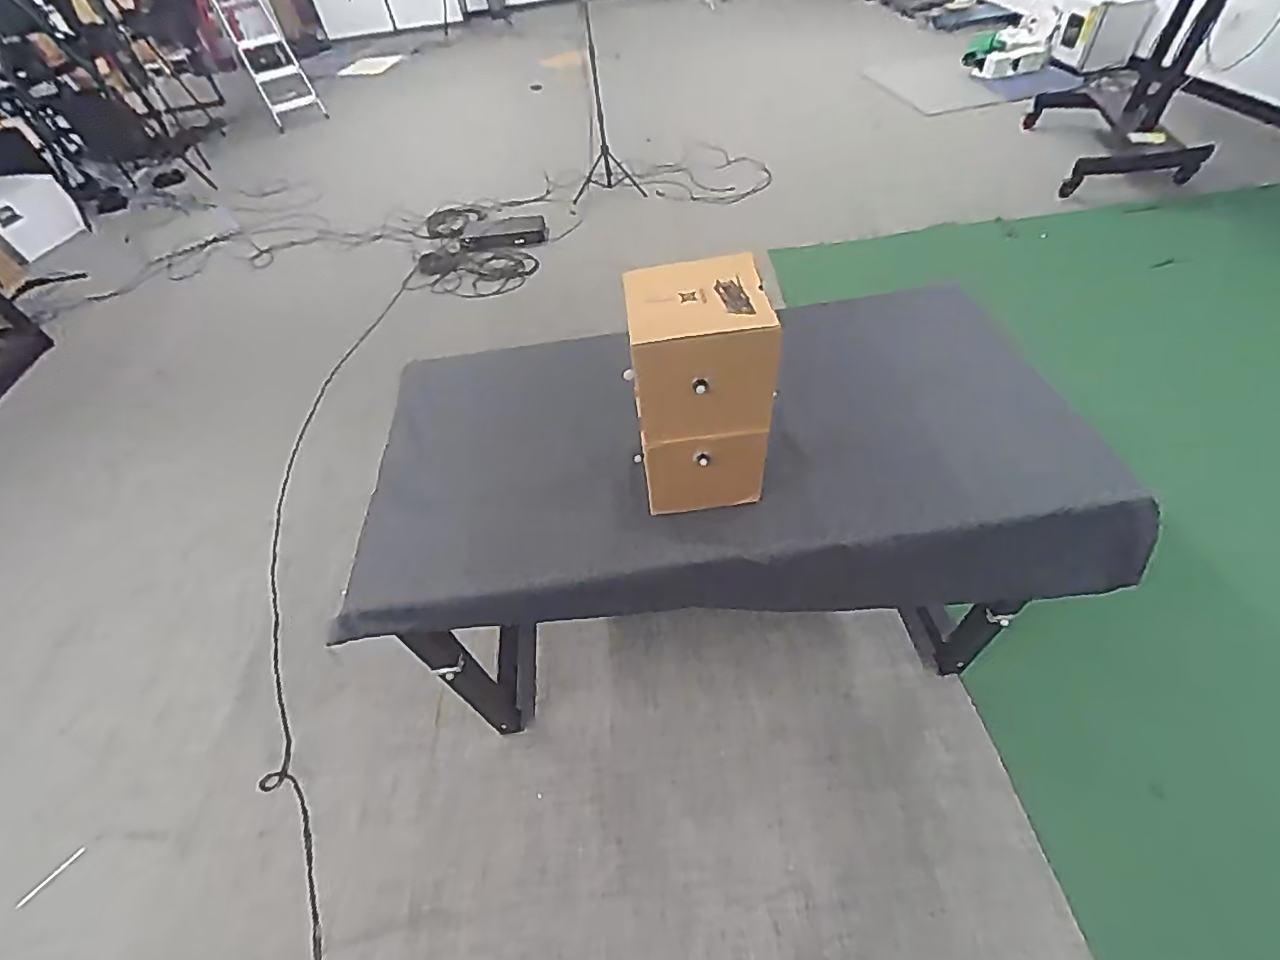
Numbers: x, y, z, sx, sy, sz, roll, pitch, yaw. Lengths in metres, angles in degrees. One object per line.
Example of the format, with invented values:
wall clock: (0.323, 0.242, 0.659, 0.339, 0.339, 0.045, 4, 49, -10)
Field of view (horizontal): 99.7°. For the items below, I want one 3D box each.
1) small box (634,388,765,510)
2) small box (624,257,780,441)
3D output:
small box: (0.089, -0.067, 0.857, 0.179, 0.176, 0.168, -7, 51, 0)
small box: (0.077, -0.173, 0.732, 0.179, 0.176, 0.168, -7, 51, 2)
